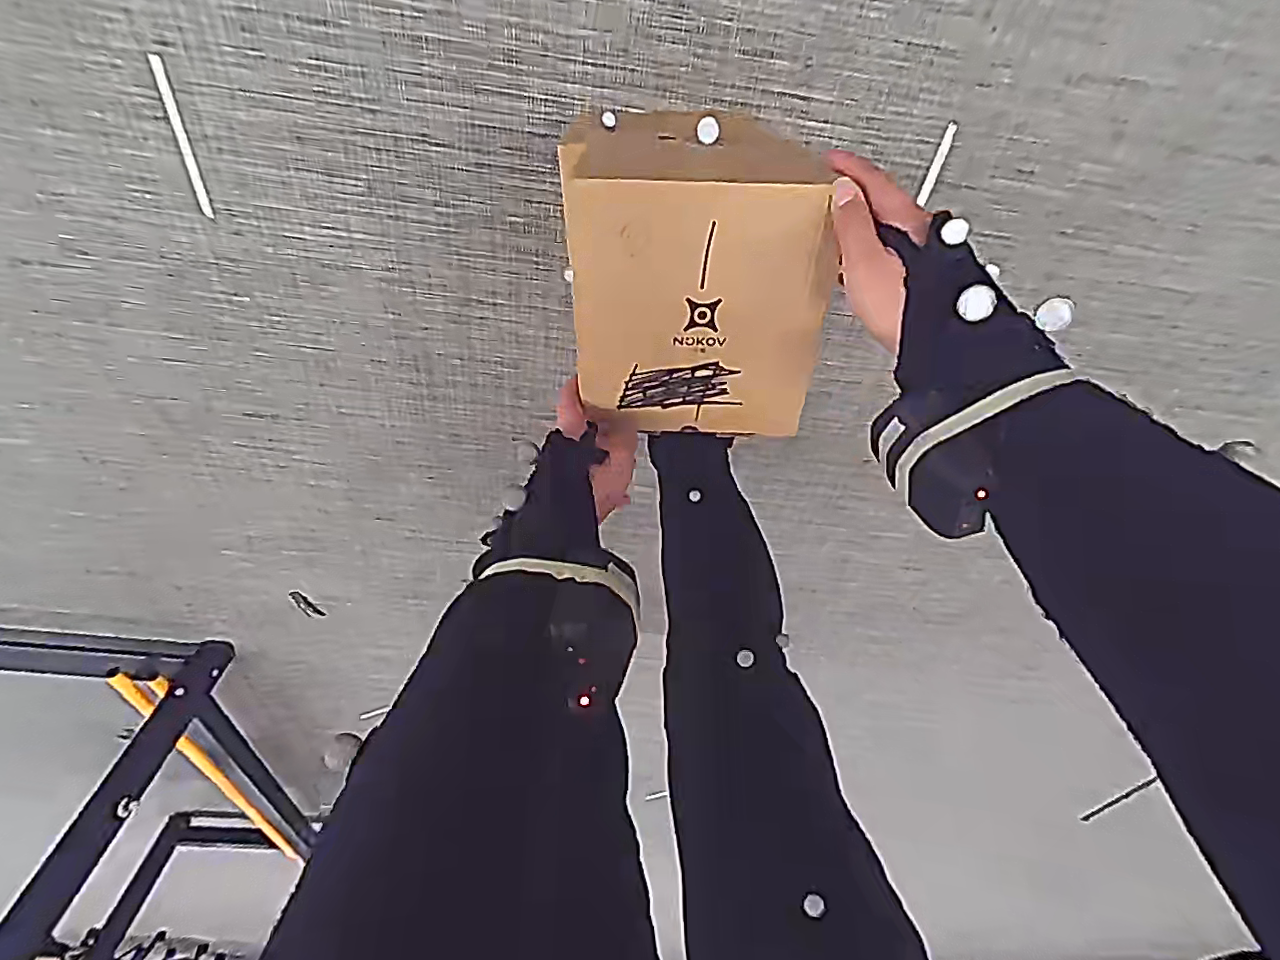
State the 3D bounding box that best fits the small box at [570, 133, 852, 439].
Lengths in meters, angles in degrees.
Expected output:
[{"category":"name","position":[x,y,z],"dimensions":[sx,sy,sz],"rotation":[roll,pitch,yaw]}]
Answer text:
[{"category":"small box","position":[0.039,-0.152,0.421],"dimensions":[0.168,0.176,0.179],"rotation":[1,130,-1]}]
